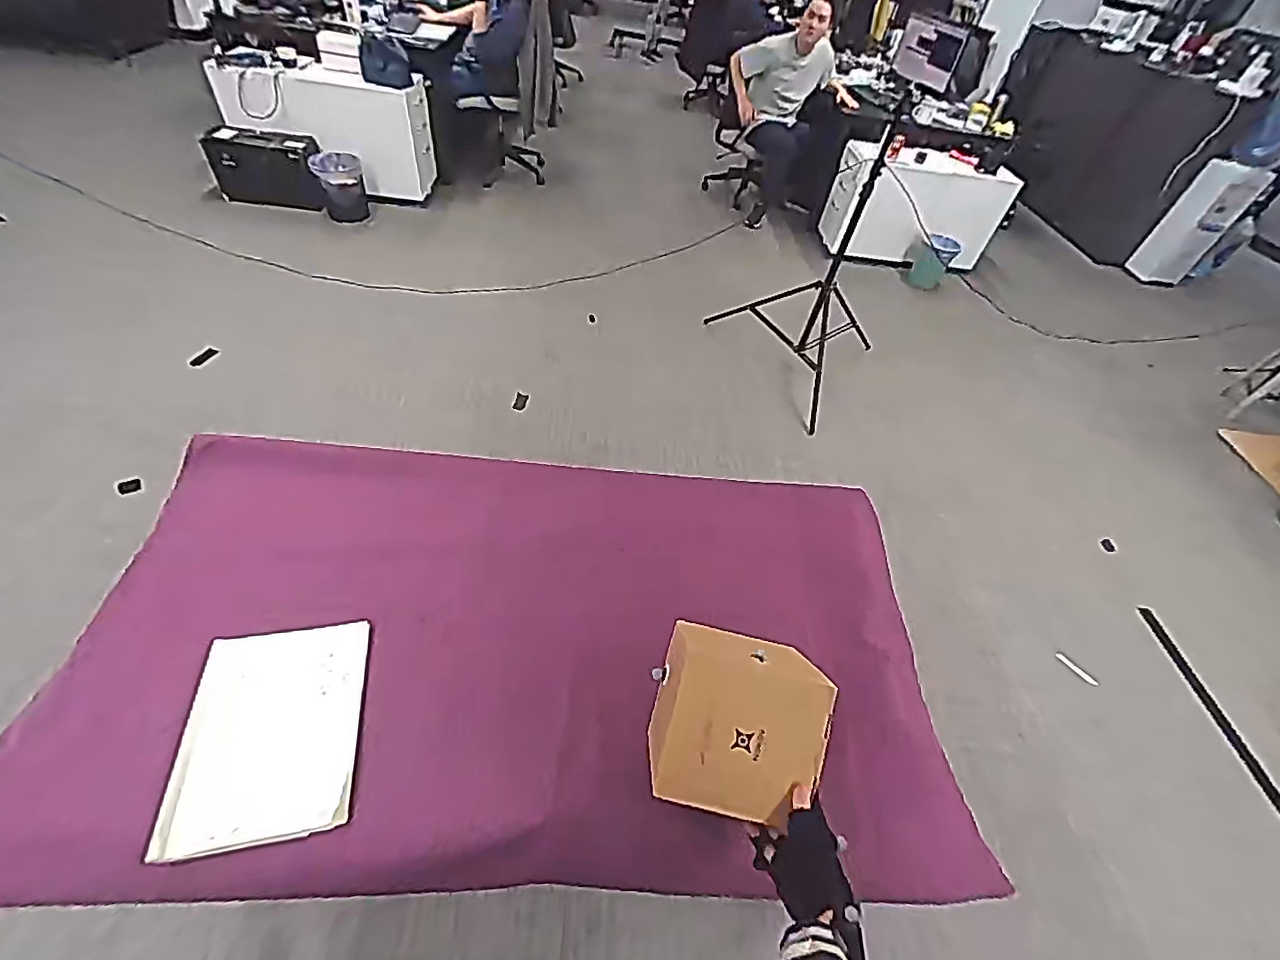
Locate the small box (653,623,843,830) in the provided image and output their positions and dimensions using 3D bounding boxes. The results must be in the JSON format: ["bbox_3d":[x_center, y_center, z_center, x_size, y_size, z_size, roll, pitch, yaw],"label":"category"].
[{"bbox_3d":[0.120,0.287,0.671,0.179,0.176,0.168,14,86,0],"label":"small box"}]
